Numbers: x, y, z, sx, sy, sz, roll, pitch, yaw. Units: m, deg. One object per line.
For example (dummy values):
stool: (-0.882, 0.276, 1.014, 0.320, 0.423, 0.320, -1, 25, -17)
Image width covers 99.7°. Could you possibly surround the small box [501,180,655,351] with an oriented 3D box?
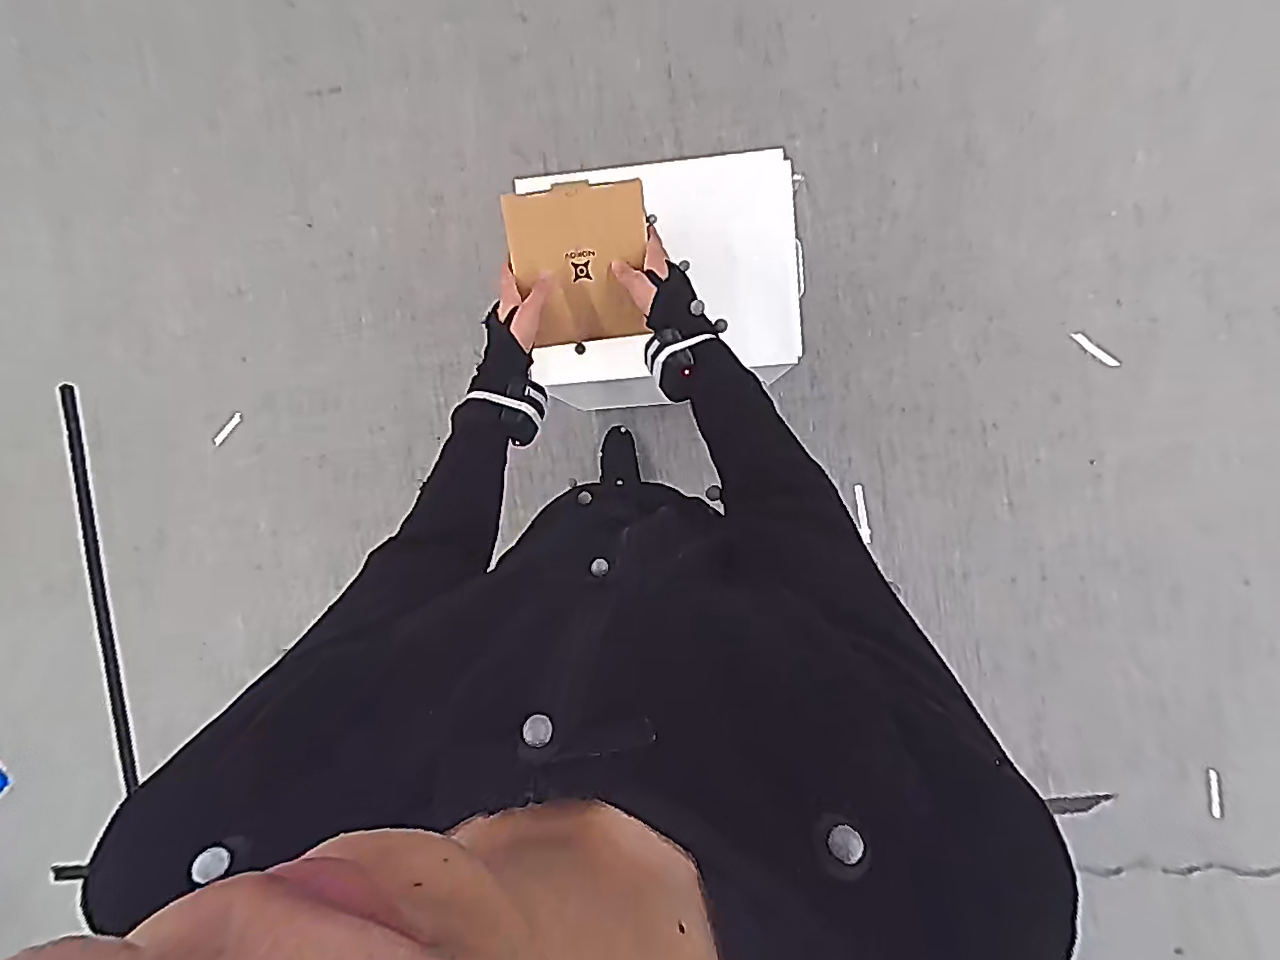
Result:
small box: (-0.070, -0.272, 0.718, 0.168, 0.176, 0.179, -7, 104, 1)
